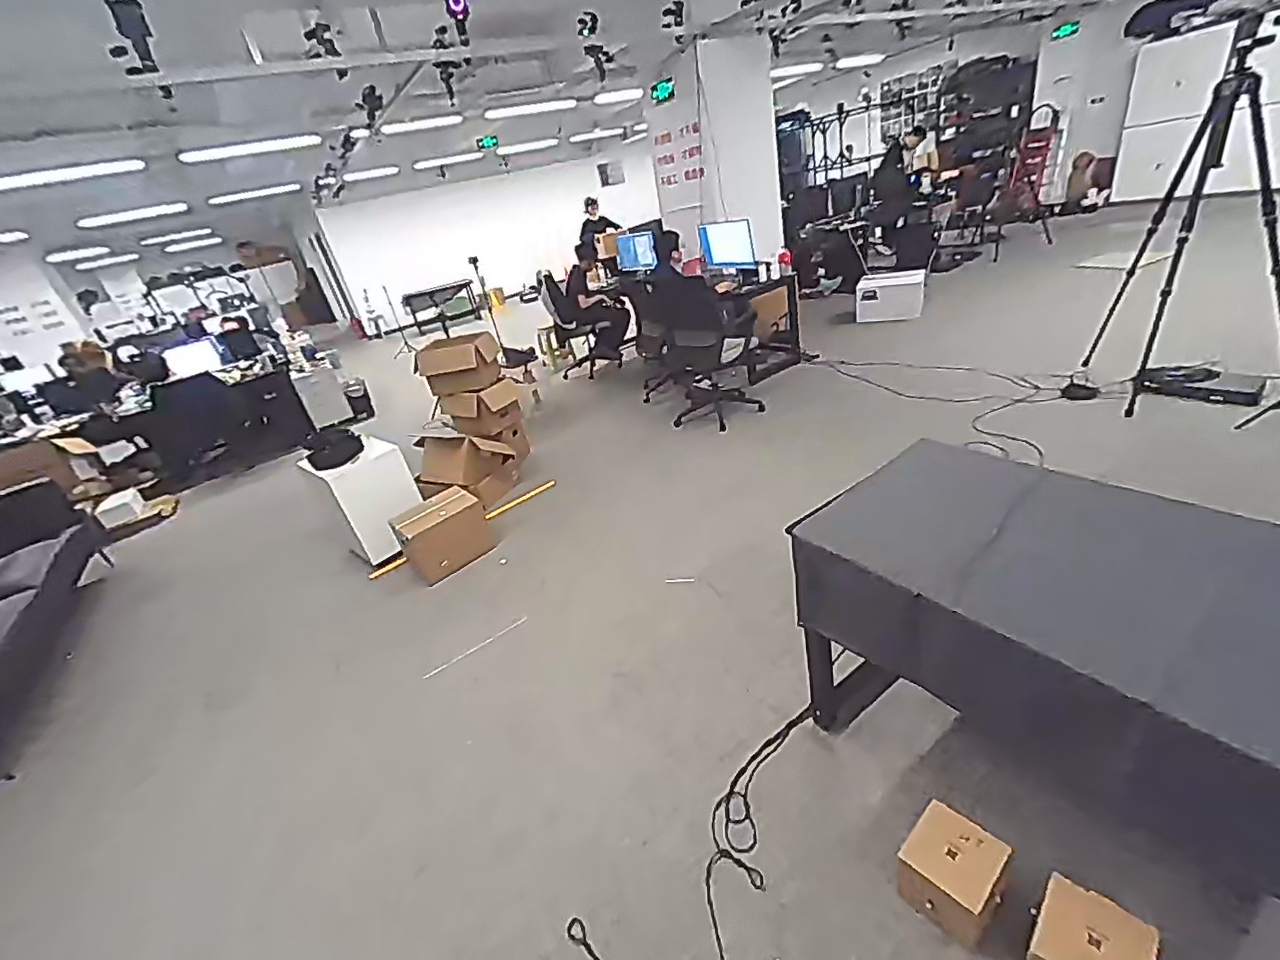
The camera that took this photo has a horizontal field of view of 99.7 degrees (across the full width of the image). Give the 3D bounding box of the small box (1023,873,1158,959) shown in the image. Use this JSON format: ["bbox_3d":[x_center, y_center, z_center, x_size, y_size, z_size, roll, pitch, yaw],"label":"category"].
[{"bbox_3d":[0.858,0.930,1.044,0.168,0.176,0.179,16,39,43],"label":"small box"}]
